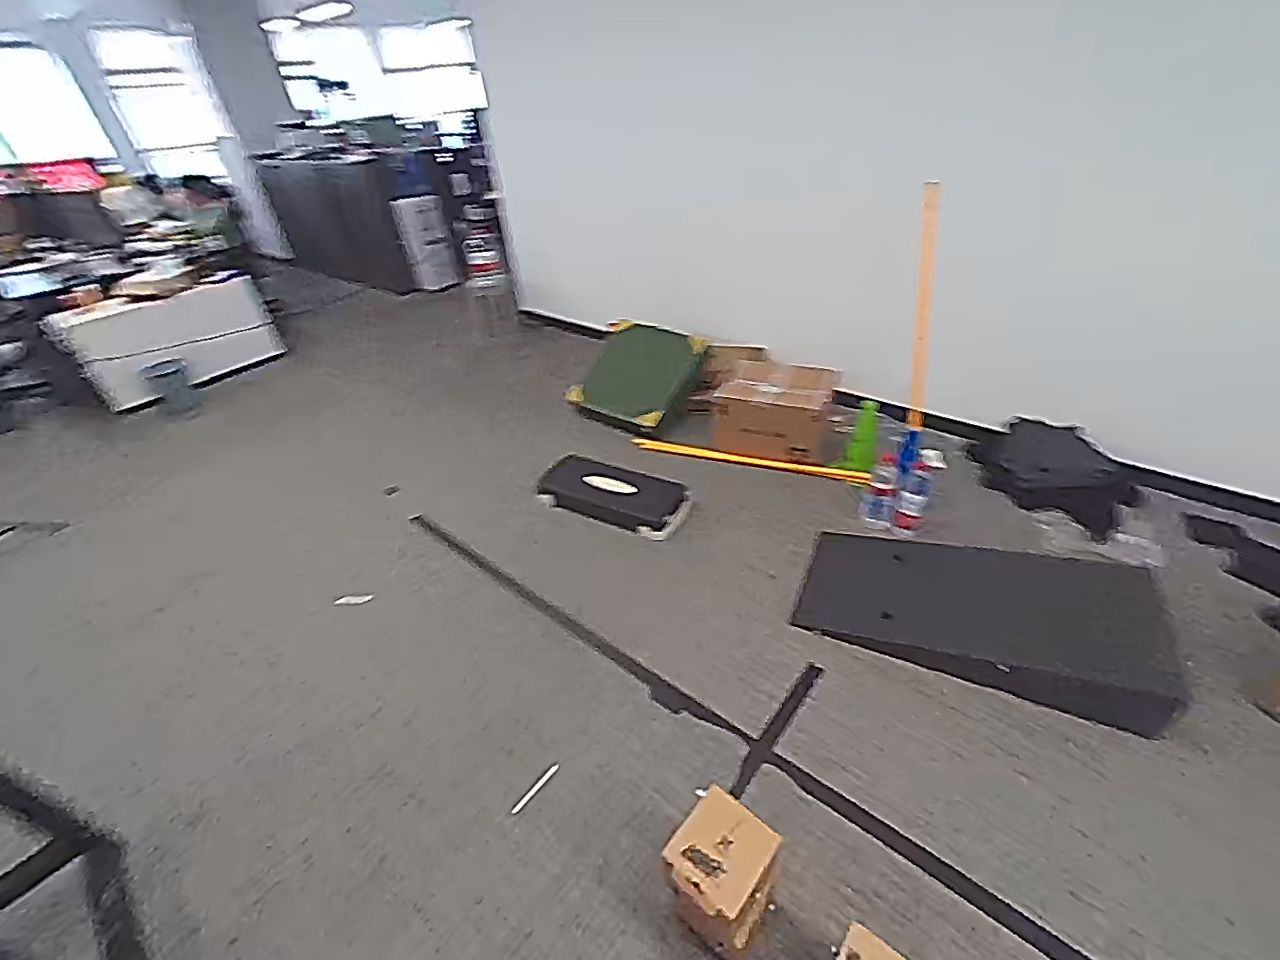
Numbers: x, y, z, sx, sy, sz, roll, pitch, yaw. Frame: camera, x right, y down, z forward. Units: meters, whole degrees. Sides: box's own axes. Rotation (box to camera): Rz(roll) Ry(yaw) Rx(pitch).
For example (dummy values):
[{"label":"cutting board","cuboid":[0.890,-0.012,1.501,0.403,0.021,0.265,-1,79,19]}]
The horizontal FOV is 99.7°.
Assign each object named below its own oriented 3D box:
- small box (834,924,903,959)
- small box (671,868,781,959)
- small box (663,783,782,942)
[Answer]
[{"label":"small box","cuboid":[0.442,1.000,1.016,0.179,0.176,0.168,25,47,33]},{"label":"small box","cuboid":[0.186,0.899,1.181,0.179,0.176,0.168,24,46,33]},{"label":"small box","cuboid":[0.165,0.767,1.085,0.168,0.176,0.179,27,46,34]}]
